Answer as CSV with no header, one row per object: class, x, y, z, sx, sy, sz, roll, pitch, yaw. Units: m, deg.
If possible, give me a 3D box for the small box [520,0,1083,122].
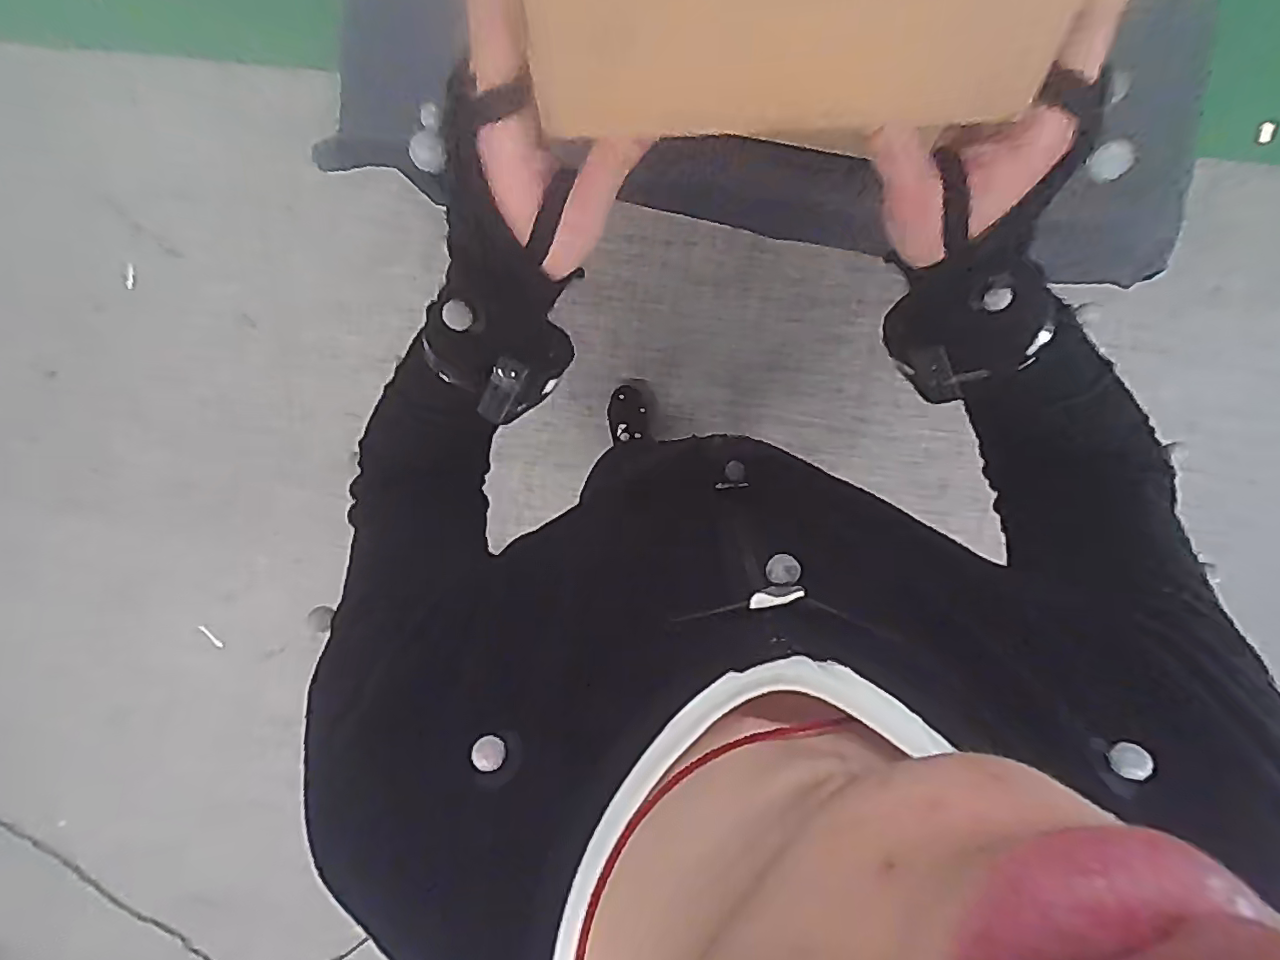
small box,0.048,-0.242,0.162,0.179,0.168,0.176,-1,62,4
